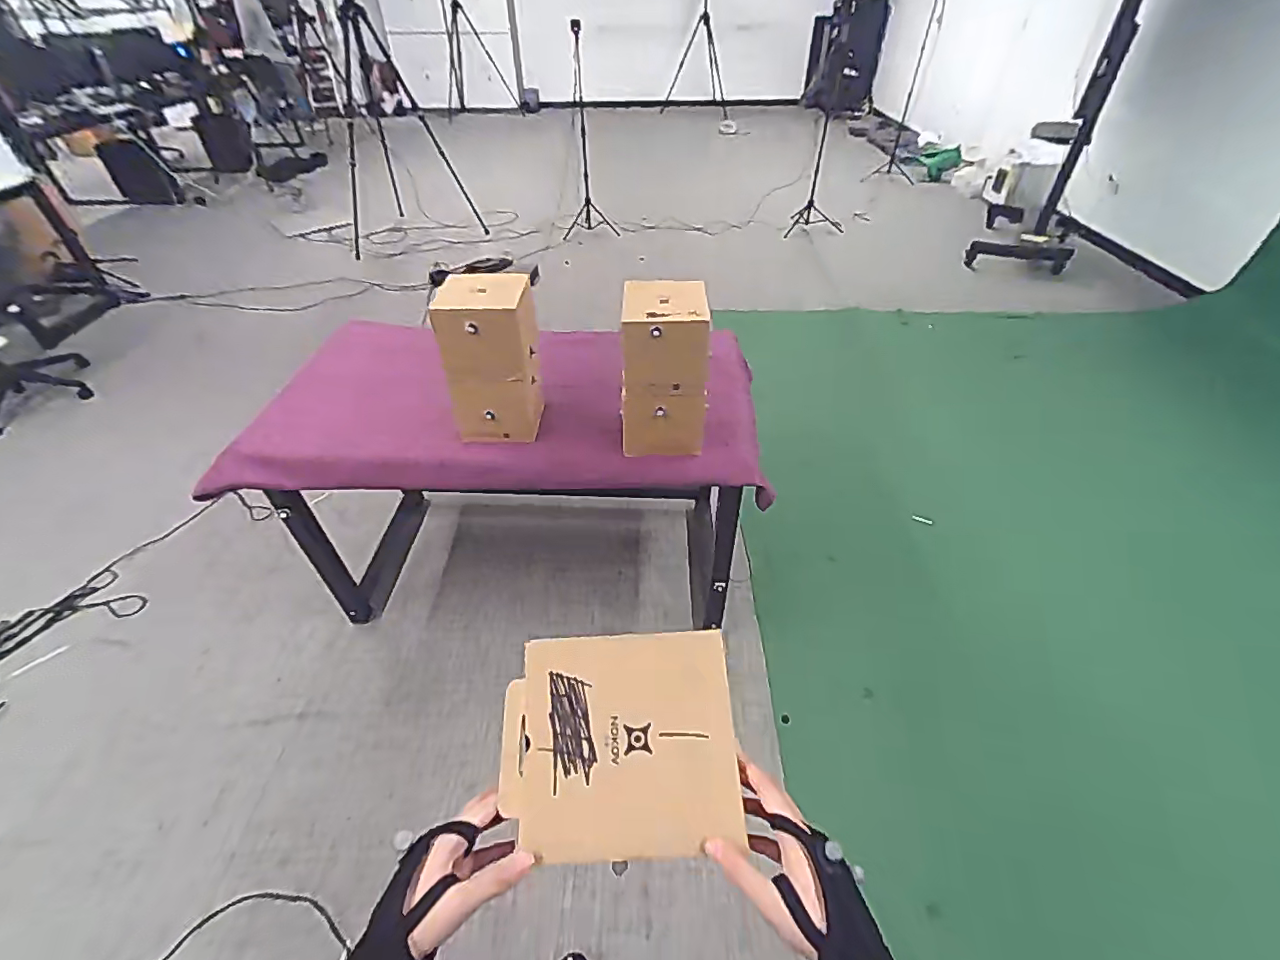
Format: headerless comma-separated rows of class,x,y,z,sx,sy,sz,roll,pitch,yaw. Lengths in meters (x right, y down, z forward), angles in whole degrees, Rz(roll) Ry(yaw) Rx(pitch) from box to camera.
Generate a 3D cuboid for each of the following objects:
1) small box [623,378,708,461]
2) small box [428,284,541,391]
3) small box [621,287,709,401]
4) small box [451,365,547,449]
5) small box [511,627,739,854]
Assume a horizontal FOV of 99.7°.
small box,0.056,-0.156,1.221,0.179,0.176,0.168,-2,43,2
small box,-0.320,-0.302,1.154,0.179,0.176,0.168,0,43,2
small box,0.052,-0.278,1.111,0.168,0.176,0.179,-2,43,3
small box,-0.320,-0.185,1.268,0.168,0.176,0.179,0,41,2
small box,-0.010,0.246,0.513,0.179,0.176,0.168,-4,61,1
